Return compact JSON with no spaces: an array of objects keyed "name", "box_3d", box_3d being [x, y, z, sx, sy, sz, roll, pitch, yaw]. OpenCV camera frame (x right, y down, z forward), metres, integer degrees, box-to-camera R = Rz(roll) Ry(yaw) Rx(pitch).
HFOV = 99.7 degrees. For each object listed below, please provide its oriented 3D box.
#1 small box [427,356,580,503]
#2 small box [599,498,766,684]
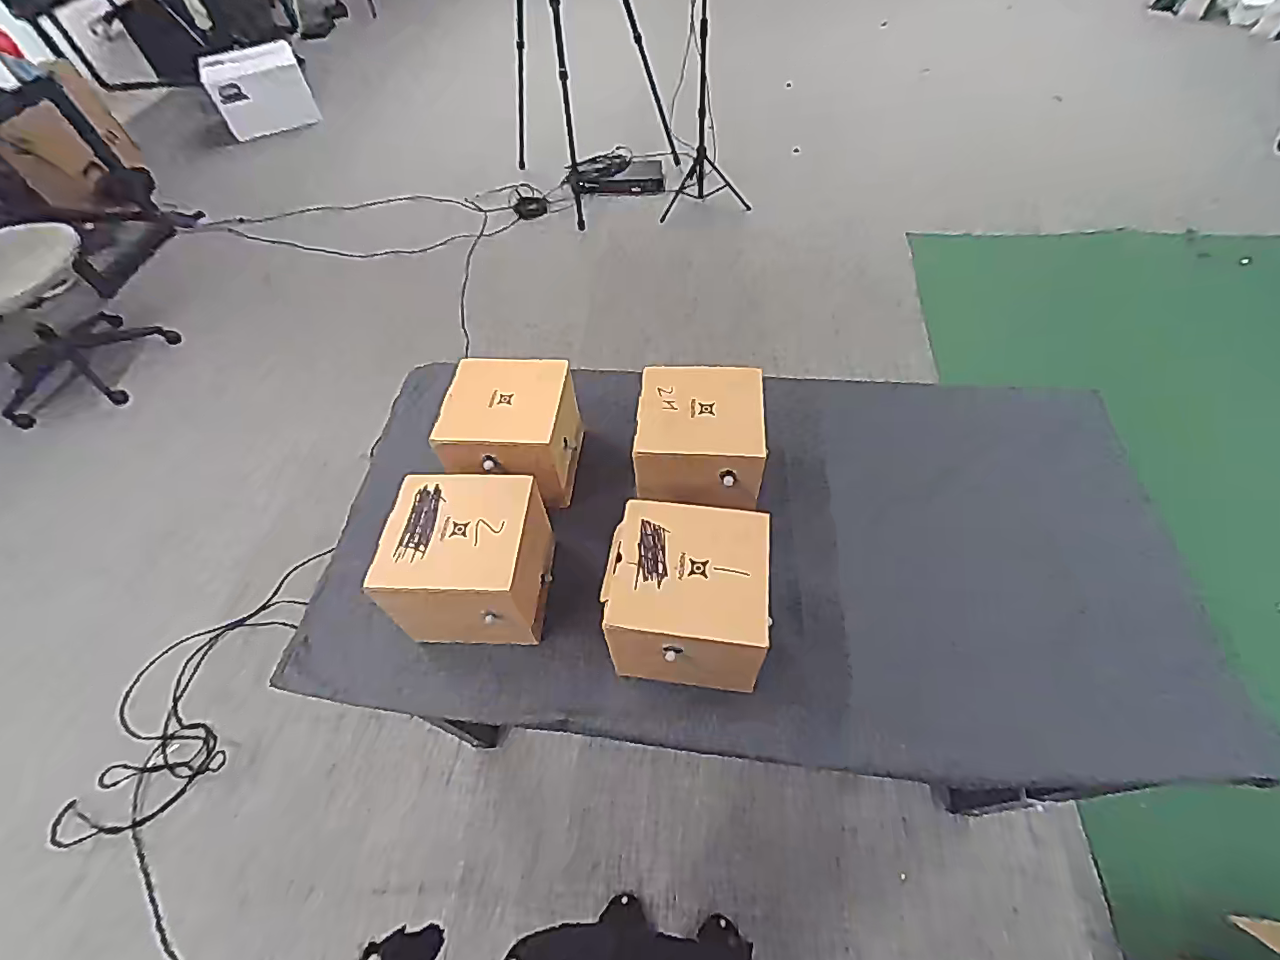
[{"name":"small box","box_3d":[-0.199,-0.075,0.850,0.179,0.176,0.168,1,55,6]},{"name":"small box","box_3d":[0.058,0.141,0.671,0.179,0.176,0.168,5,55,8]}]
